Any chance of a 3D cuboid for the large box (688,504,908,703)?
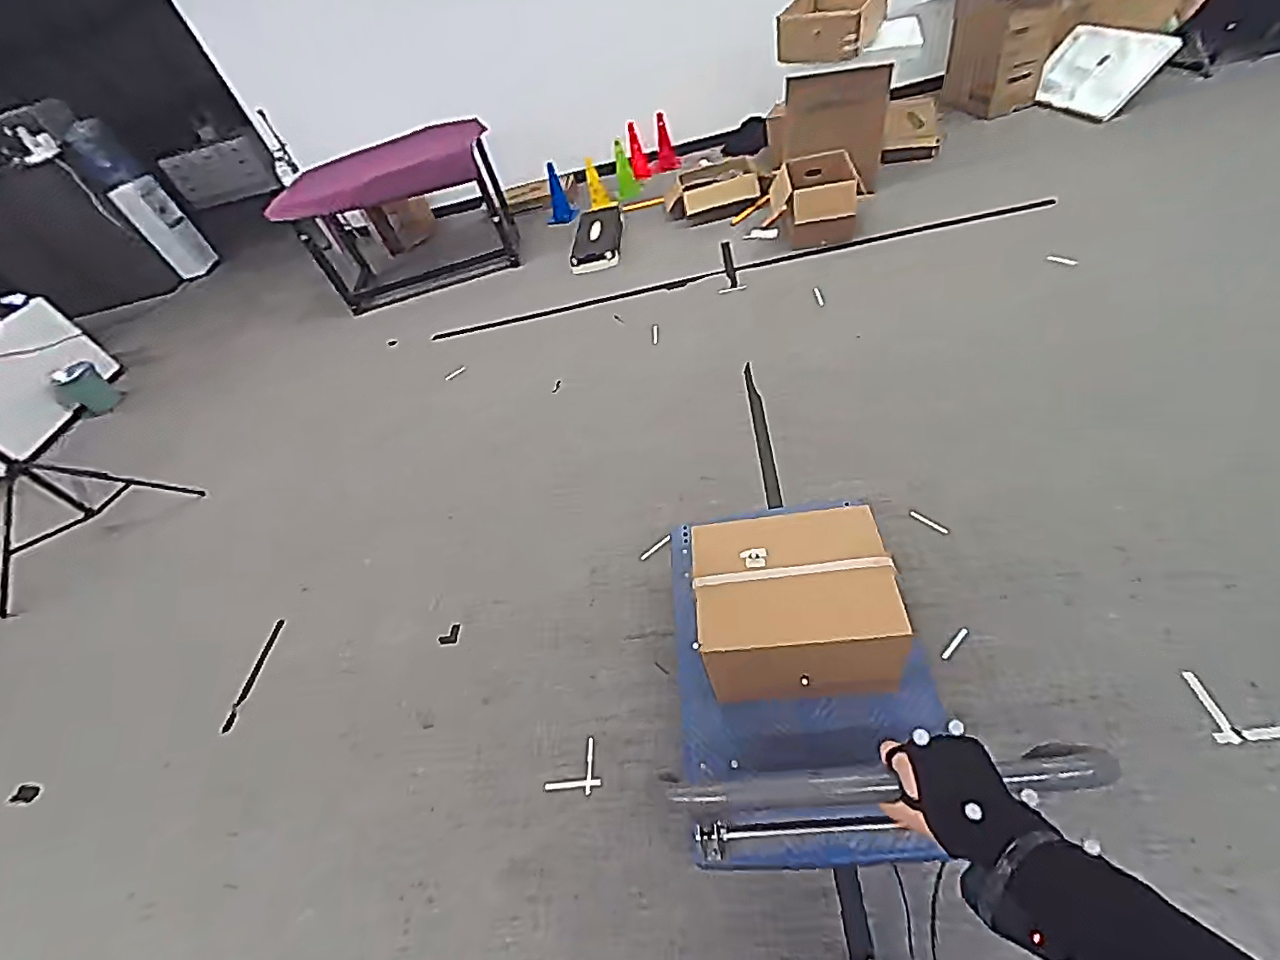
[{"bbox_3d":[0.343,0.294,1.242,0.408,0.320,0.320,-9,46,11],"label":"large box"}]
